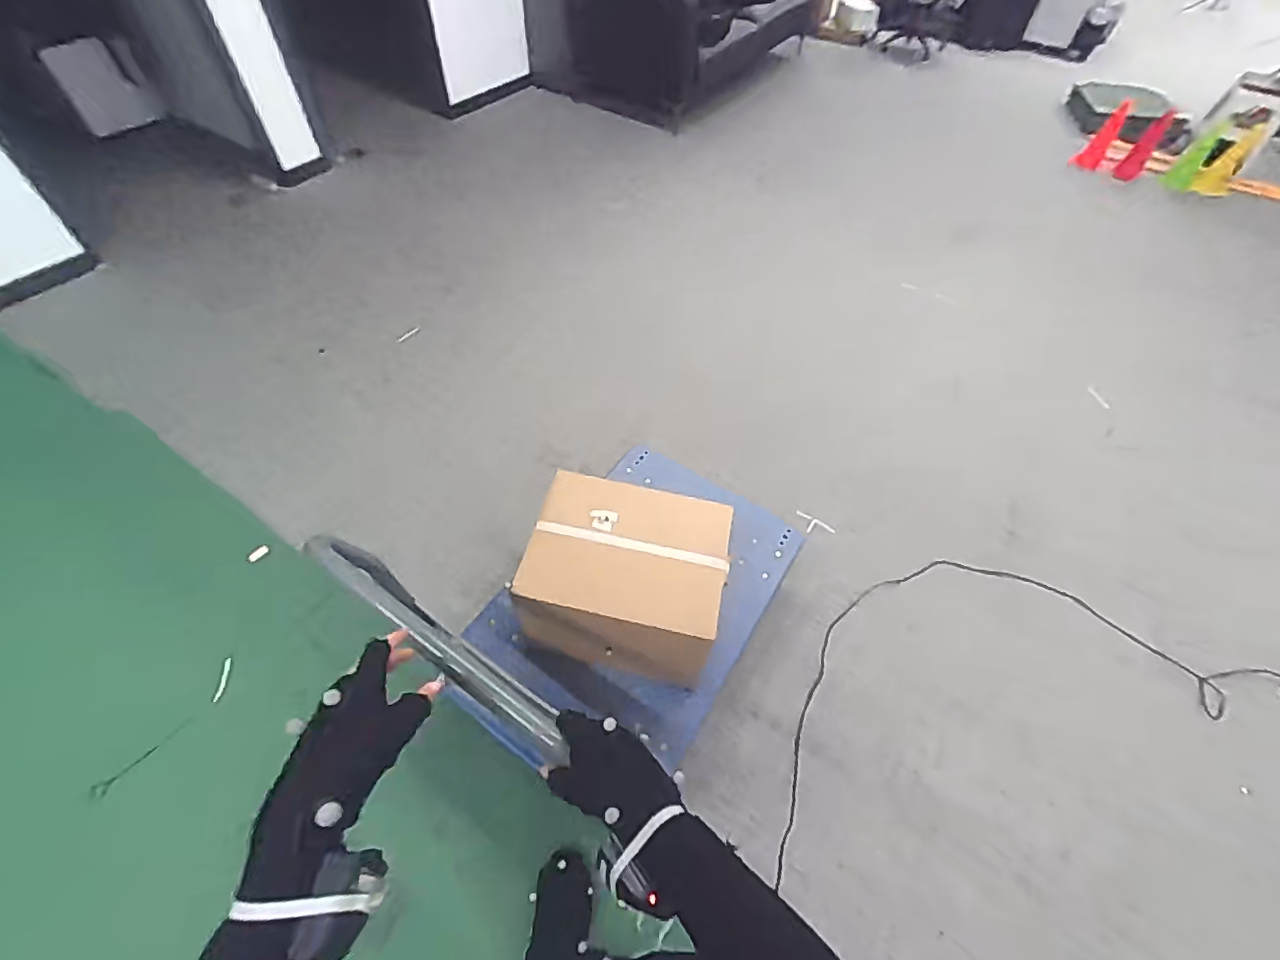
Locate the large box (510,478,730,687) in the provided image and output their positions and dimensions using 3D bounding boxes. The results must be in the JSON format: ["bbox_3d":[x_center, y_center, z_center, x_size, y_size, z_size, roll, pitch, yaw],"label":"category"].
[{"bbox_3d":[-0.029,0.237,1.229,0.408,0.320,0.320,12,53,7],"label":"large box"}]
